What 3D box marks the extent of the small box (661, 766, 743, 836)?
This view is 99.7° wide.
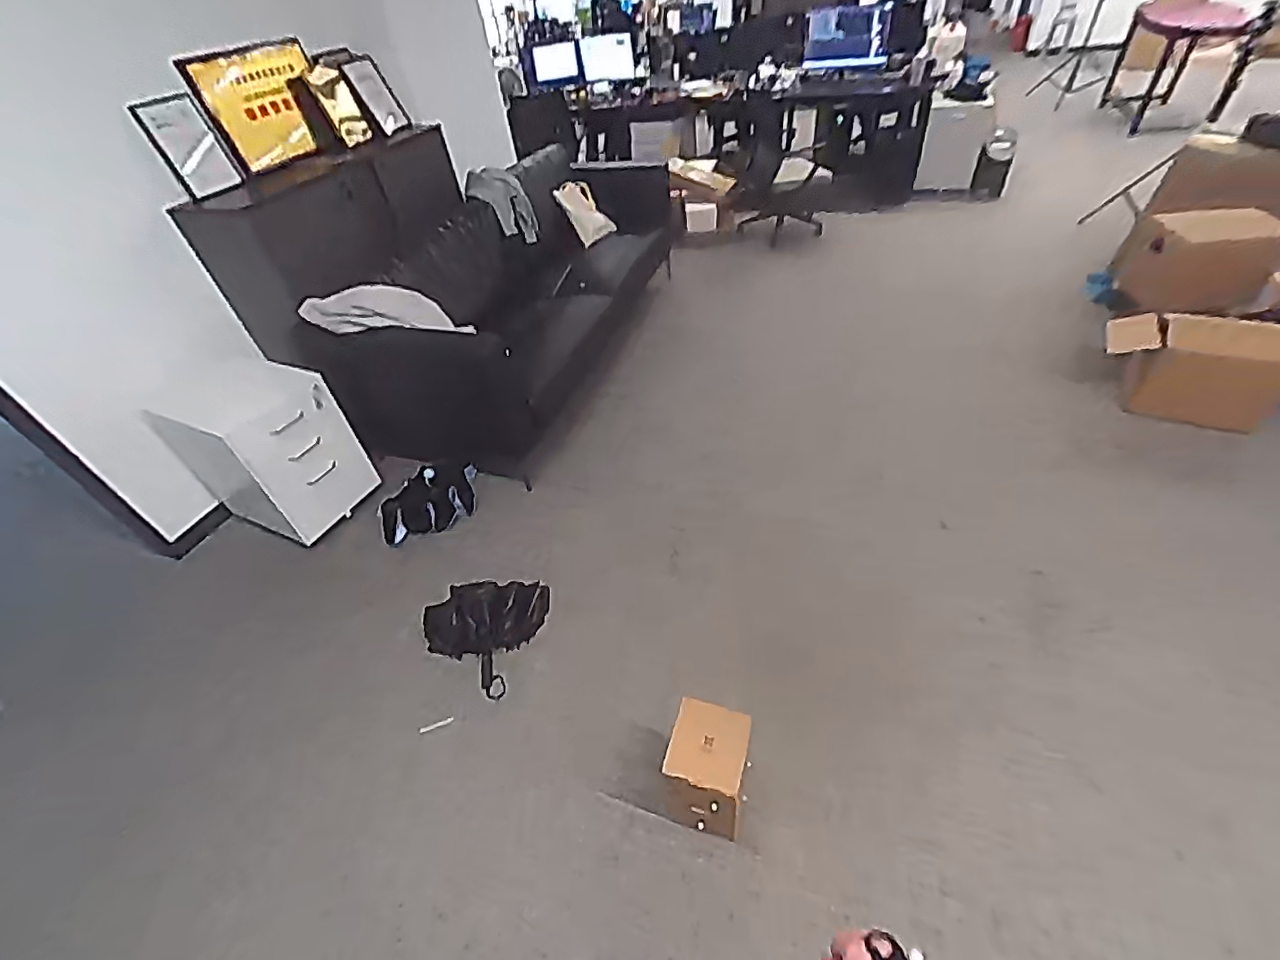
[{"bbox_3d":[0.159,0.745,1.333,0.168,0.176,0.179,9,46,17],"label":"small box"}]

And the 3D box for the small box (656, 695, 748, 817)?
[{"bbox_3d":[0.144,0.626,1.223,0.168,0.176,0.179,10,44,17],"label":"small box"}]
